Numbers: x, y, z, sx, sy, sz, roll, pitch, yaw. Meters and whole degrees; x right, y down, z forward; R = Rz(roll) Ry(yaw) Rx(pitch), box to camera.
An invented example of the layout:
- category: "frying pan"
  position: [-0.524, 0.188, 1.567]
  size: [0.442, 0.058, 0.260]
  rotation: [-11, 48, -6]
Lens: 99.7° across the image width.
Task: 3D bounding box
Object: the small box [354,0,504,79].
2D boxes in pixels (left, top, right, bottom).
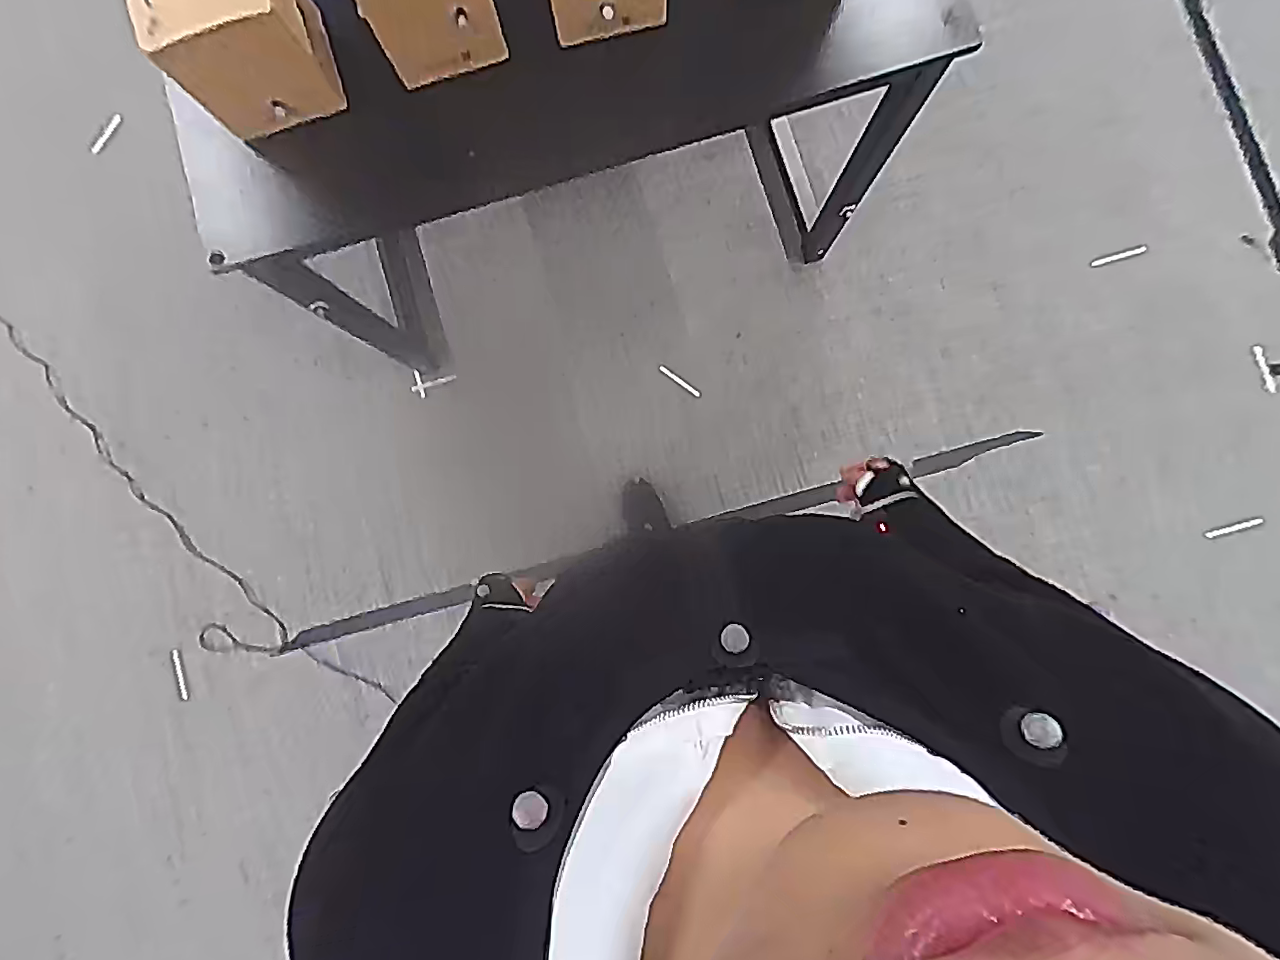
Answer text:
- category: "small box"
  position: [-0.305, -0.704, 0.750]
  size: [0.168, 0.176, 0.179]
  rotation: [-17, 86, 0]

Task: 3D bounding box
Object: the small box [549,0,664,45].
- category: "small box"
  position: [-0.062, -0.762, 0.746]
  size: [0.168, 0.176, 0.179]
  rotation: [-12, 87, 1]

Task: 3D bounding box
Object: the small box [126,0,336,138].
- category: "small box"
  position: [-0.554, -0.622, 0.748]
  size: [0.179, 0.176, 0.168]
  rotation: [-18, 86, -1]
